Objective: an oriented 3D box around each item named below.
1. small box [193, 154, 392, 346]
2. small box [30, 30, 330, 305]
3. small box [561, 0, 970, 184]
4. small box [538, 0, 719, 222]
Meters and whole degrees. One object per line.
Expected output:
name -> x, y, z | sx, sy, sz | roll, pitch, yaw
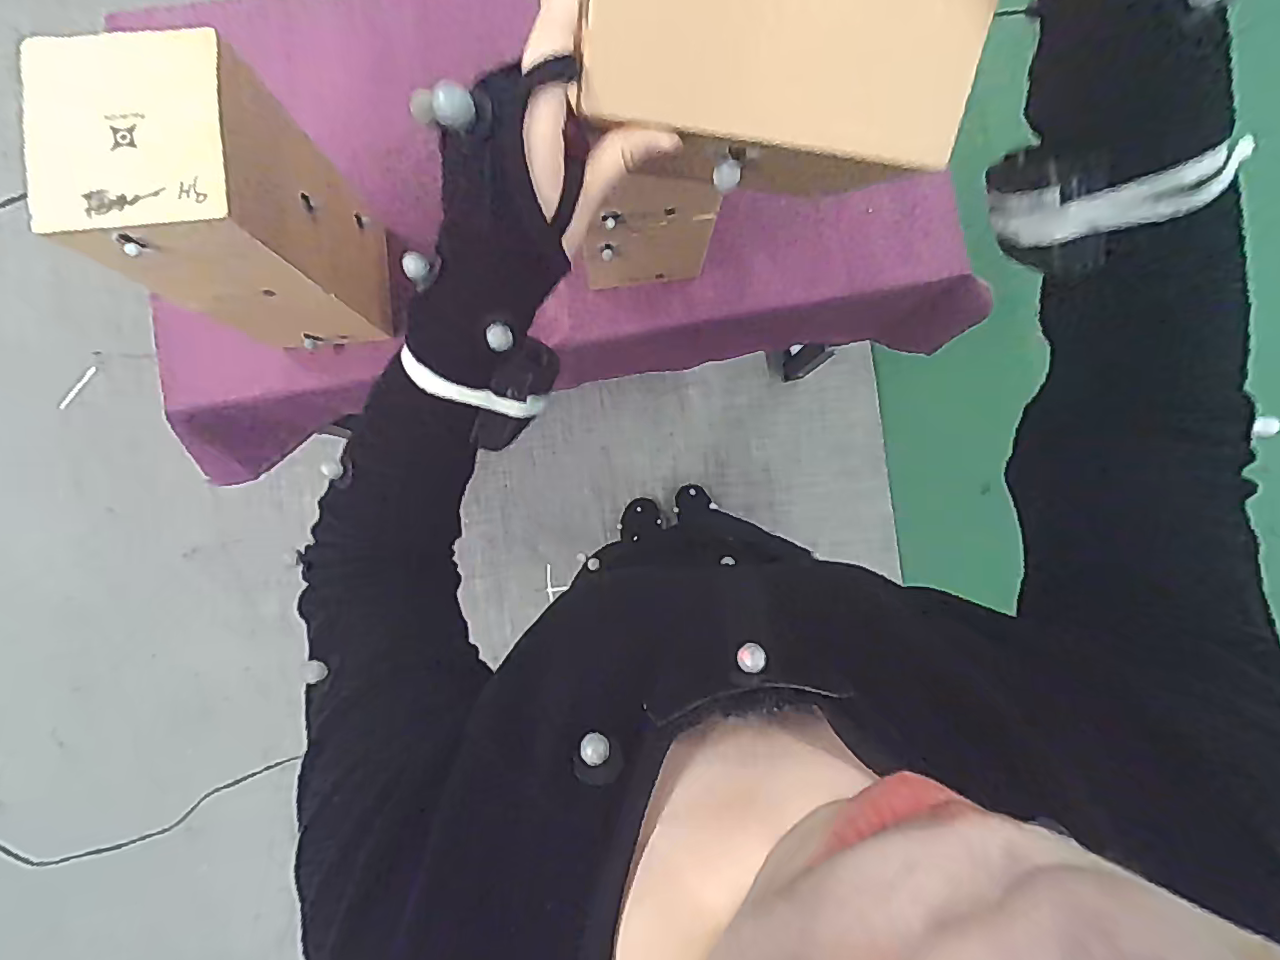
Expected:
small box -> -0.447, -0.291, 0.714 | 0.168, 0.176, 0.179 | -5, 88, -1
small box -> -0.443, -0.299, 0.548 | 0.168, 0.176, 0.179 | -5, 86, -1
small box -> 0.057, -0.268, 0.291 | 0.179, 0.176, 0.168 | 5, 112, -4
small box -> -0.004, -0.395, 0.566 | 0.168, 0.176, 0.179 | -11, 86, -2
